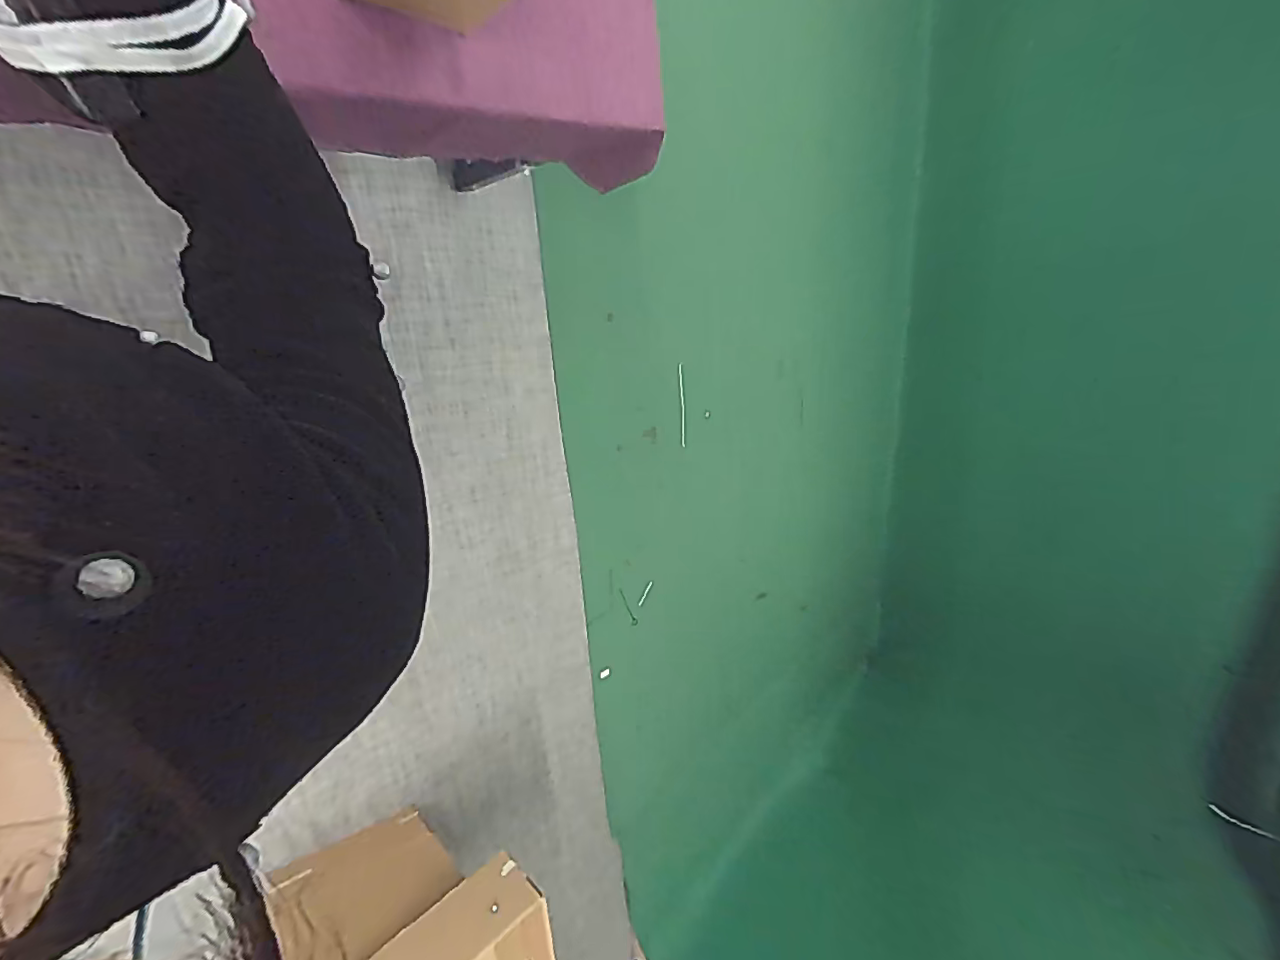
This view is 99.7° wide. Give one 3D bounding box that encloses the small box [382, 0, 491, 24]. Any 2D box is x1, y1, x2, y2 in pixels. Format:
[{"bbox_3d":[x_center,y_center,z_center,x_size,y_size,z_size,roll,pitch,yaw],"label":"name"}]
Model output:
[{"bbox_3d":[-0.249,-0.668,0.617,0.179,0.176,0.168,-18,113,-41],"label":"small box"}]
